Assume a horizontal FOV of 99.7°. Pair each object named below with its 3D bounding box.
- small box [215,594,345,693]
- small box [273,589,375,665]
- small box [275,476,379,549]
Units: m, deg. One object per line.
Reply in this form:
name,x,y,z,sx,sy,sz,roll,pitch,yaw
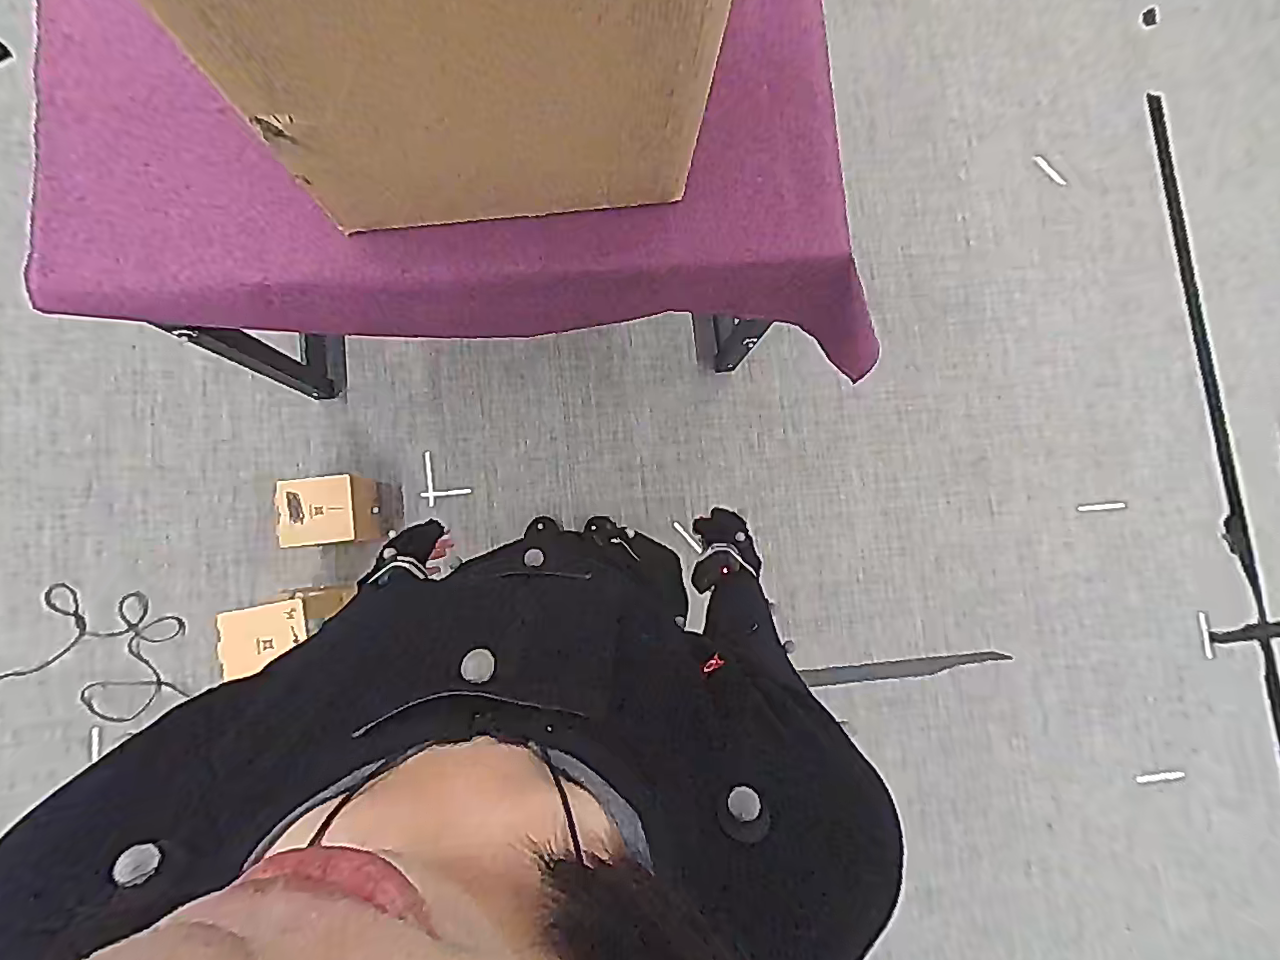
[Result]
small box,-0.790,0.355,1.199,0.179,0.176,0.168,-10,84,-5
small box,-0.791,0.365,1.363,0.179,0.176,0.168,0,83,-3
small box,-0.796,0.087,1.387,0.179,0.176,0.168,-6,85,-6
